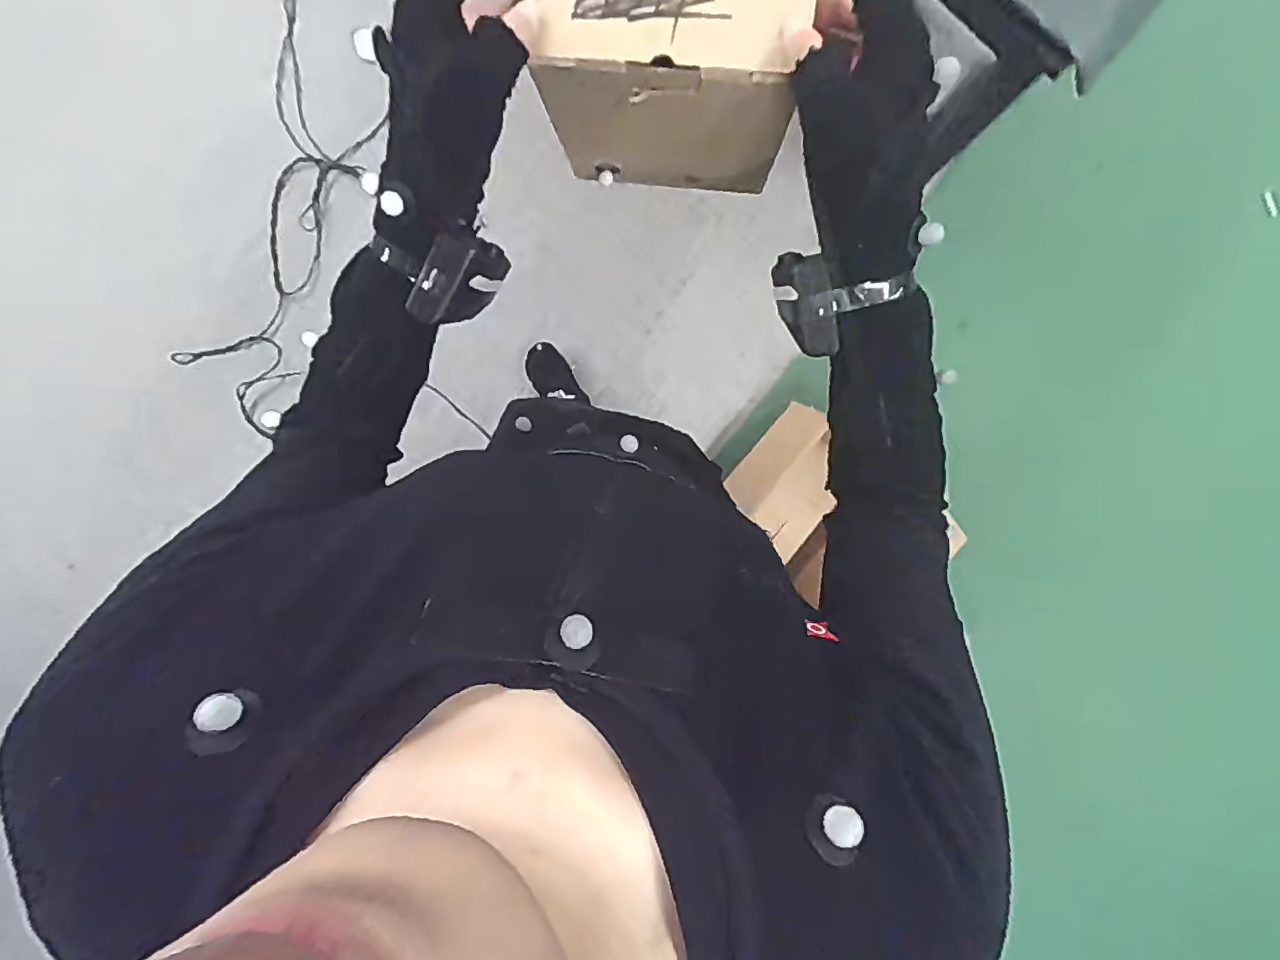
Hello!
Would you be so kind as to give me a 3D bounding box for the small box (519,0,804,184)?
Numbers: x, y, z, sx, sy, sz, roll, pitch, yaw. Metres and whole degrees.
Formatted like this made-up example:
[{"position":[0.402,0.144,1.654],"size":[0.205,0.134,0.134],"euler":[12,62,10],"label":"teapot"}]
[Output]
[{"position":[0.023,-0.333,0.380],"size":[0.168,0.176,0.179],"euler":[6,97,3],"label":"small box"}]
